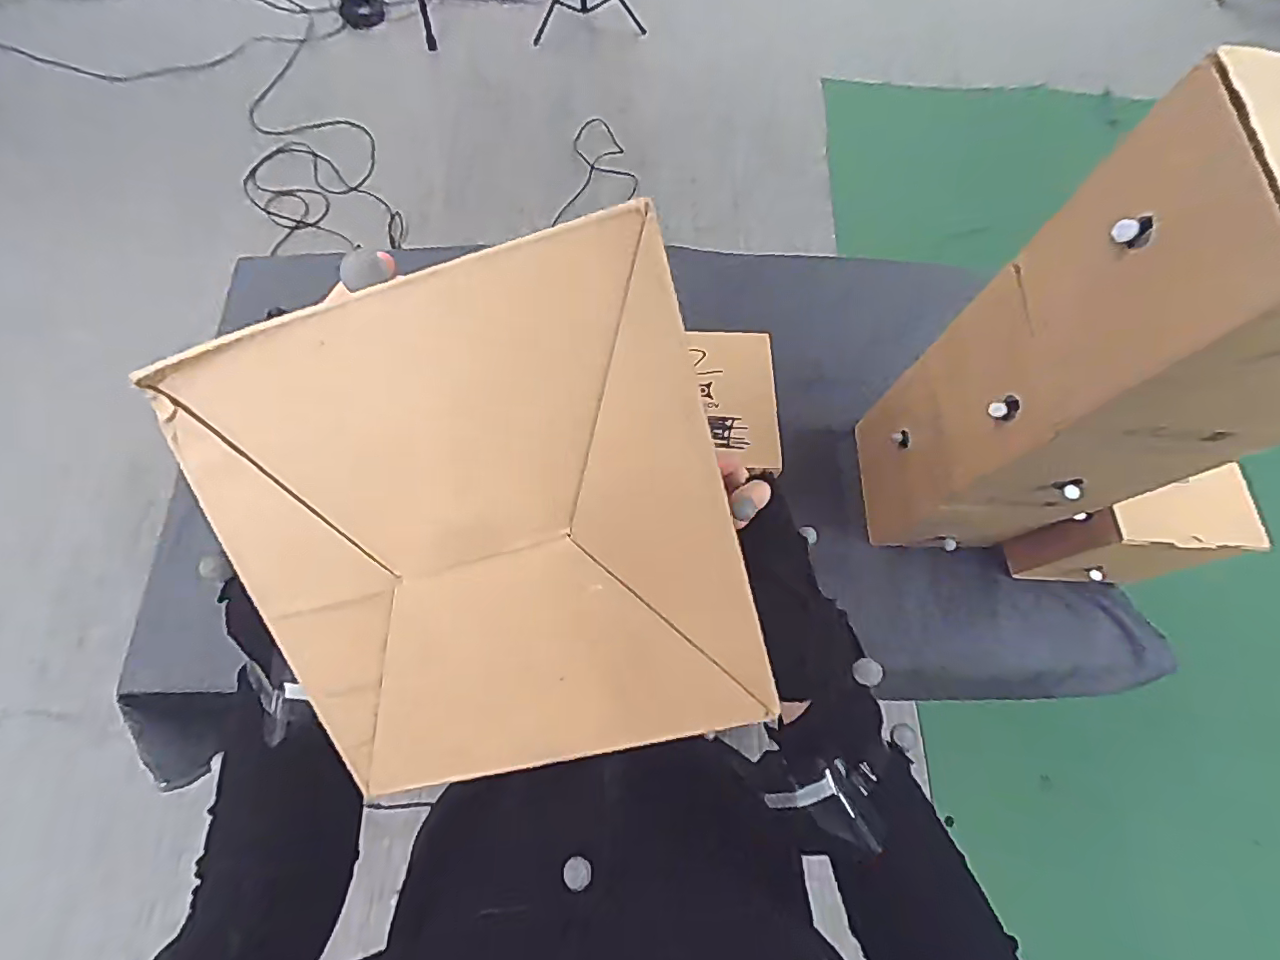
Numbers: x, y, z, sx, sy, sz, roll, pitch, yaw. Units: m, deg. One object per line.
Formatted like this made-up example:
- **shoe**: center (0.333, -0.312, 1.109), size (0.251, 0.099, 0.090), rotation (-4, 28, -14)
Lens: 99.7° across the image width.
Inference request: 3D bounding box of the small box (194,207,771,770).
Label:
- **small box**: center (-0.045, -0.002, 0.255), size (0.168, 0.176, 0.179), rotation (-15, 107, 6)

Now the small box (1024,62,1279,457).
- **small box**: center (0.404, -0.134, 0.368), size (0.168, 0.176, 0.179), rotation (5, 68, 0)

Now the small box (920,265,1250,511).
- **small box**: center (0.400, -0.076, 0.522), size (0.168, 0.176, 0.179), rotation (3, 69, -1)
